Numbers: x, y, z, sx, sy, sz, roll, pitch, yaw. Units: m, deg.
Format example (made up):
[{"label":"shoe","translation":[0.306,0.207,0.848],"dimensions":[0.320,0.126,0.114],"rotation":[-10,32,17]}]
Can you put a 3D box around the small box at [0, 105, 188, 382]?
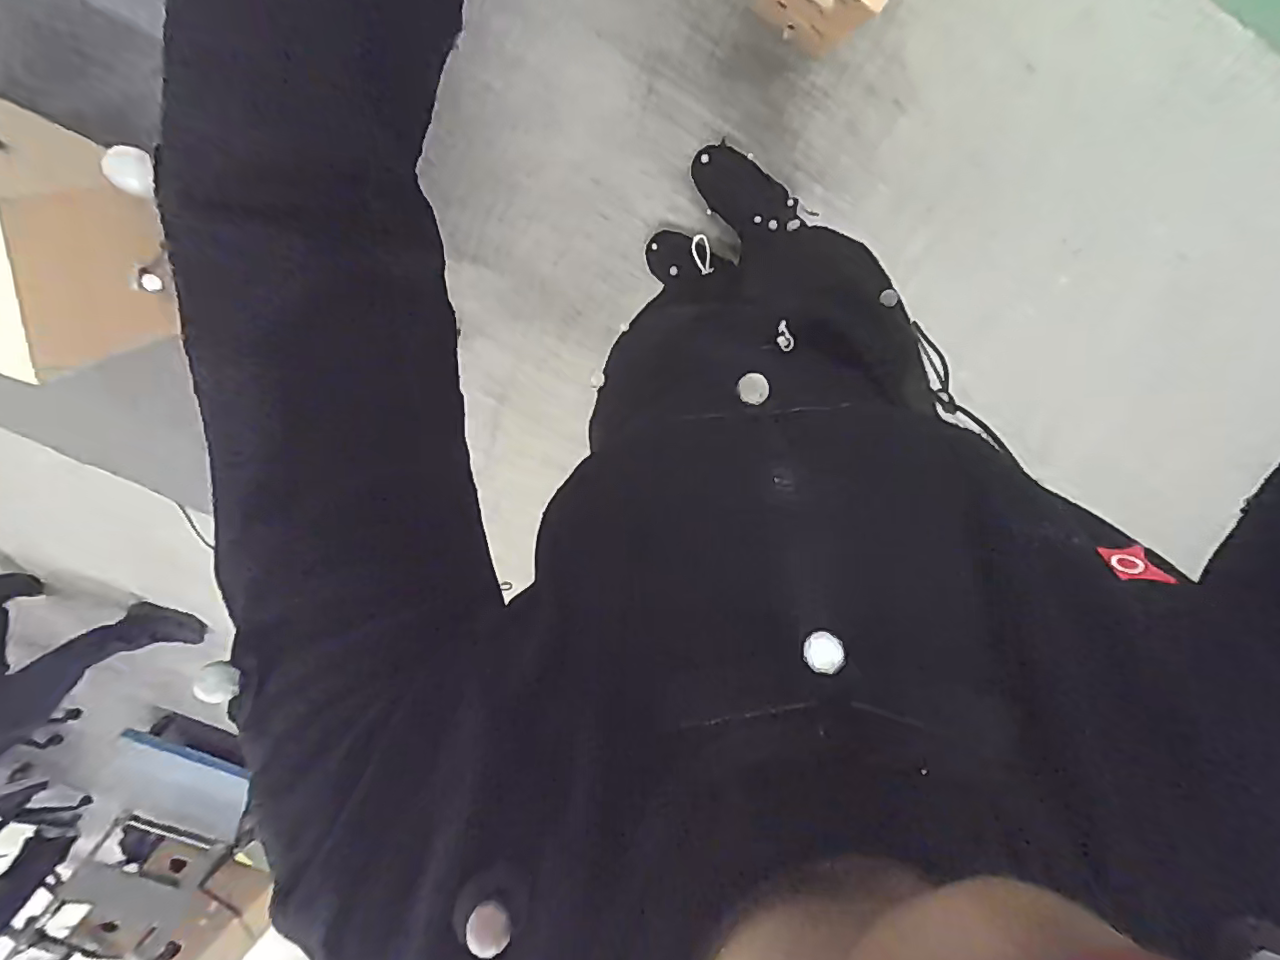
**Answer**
[{"label":"small box","translation":[-0.564,-0.221,0.490],"dimensions":[0.179,0.176,0.168],"rotation":[23,122,-8]}]

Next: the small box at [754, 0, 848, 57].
[{"label":"small box","translation":[0.295,-0.822,0.868],"dimensions":[0.168,0.176,0.179],"rotation":[27,122,-9]}]

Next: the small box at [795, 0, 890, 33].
[{"label":"small box","translation":[0.288,-0.747,0.720],"dimensions":[0.168,0.176,0.179],"rotation":[25,122,-9]}]
